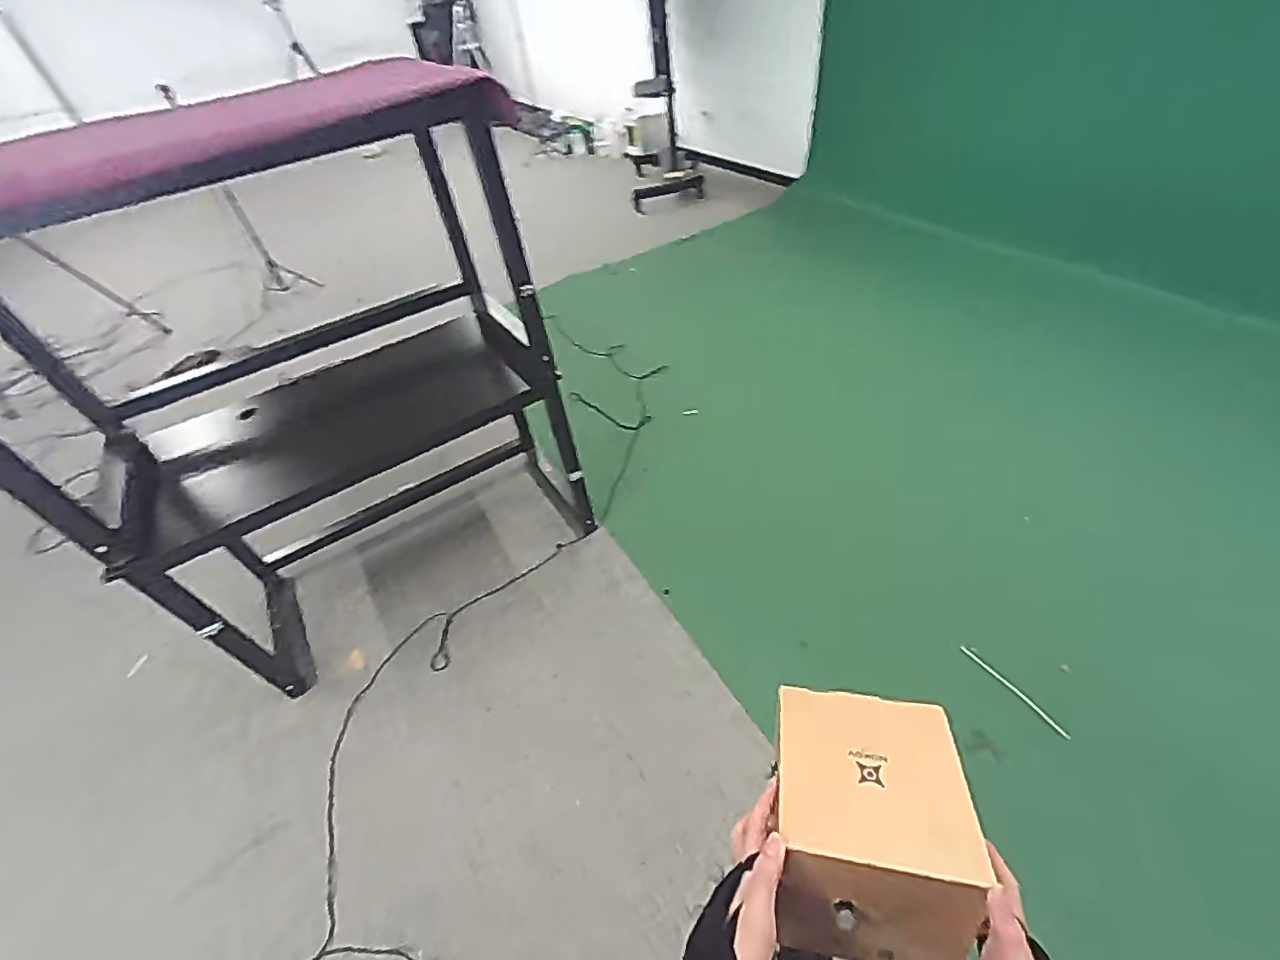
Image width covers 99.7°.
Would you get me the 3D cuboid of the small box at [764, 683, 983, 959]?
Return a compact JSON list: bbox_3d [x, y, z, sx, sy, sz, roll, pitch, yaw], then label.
[{"bbox_3d":[0.214,0.339,0.545,0.168,0.176,0.179,3,28,13],"label":"small box"}]
